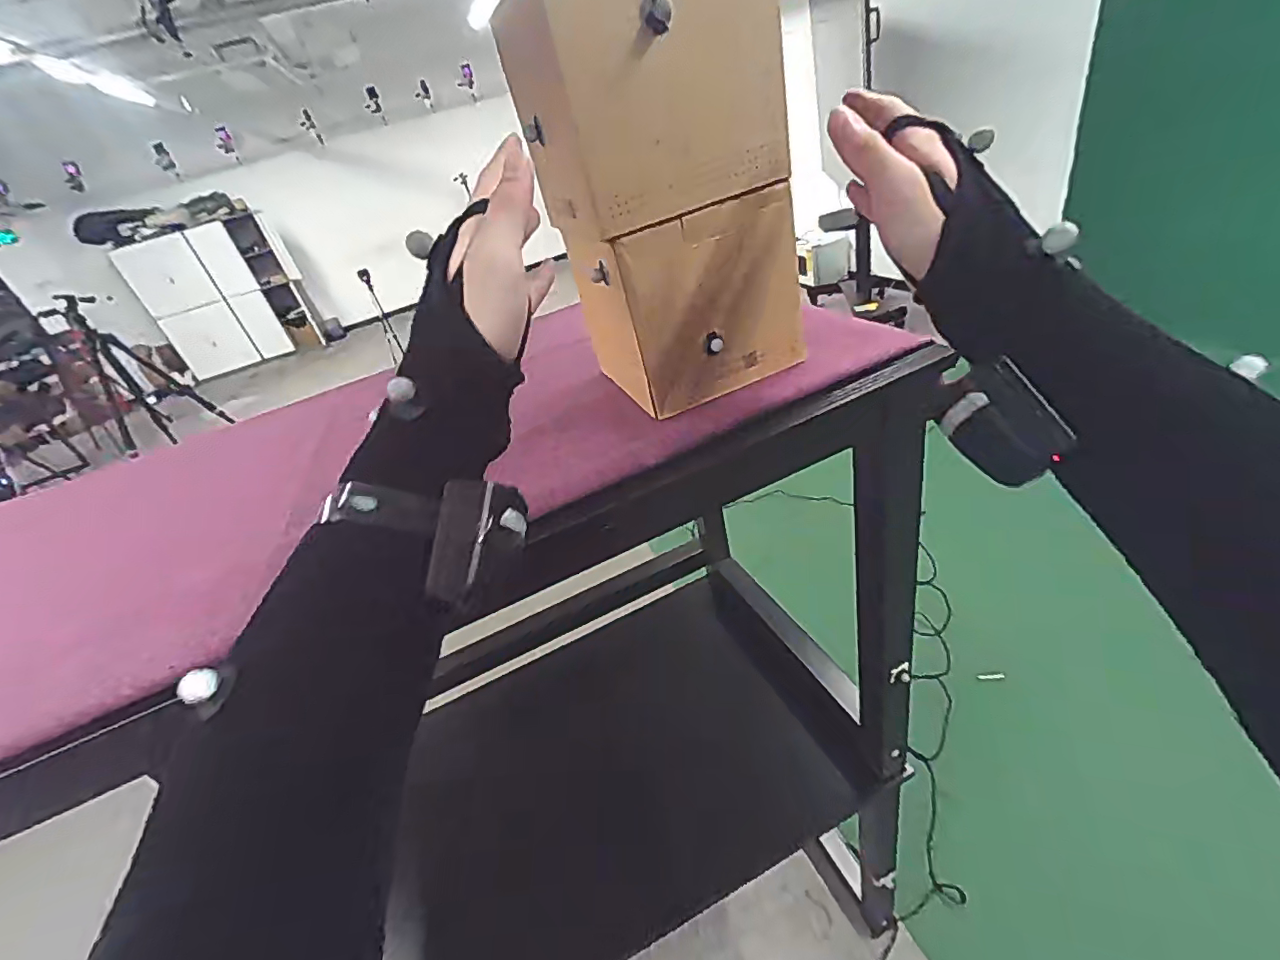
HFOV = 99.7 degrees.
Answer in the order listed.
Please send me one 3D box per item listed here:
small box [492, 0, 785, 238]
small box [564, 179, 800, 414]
[{"bbox_3d":[0.000,-0.315,0.448,0.179,0.176,0.168,-24,35,-11],"label":"small box"},{"bbox_3d":[0.041,-0.188,0.546,0.168,0.176,0.179,-24,34,-10],"label":"small box"}]
